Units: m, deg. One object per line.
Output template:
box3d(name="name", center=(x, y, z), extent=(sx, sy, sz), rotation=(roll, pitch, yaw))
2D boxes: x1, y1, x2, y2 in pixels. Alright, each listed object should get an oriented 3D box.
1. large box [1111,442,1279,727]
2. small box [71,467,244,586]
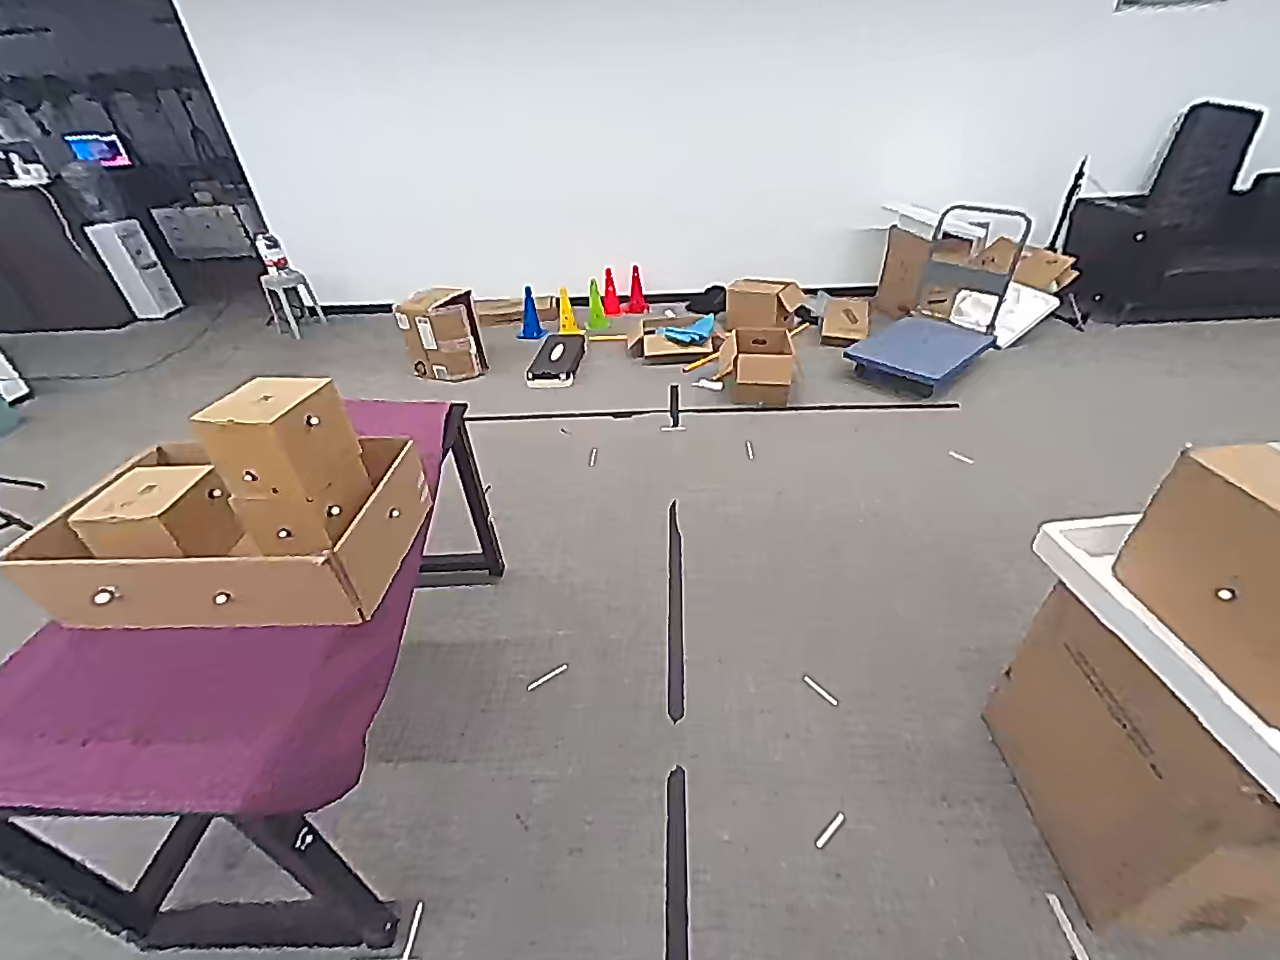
box3d(name="large box", center=(1.152, 0.172, 0.913), extent=(0.320, 0.320, 0.408), rotation=(-3, 34, -1))
box3d(name="small box", center=(-0.943, 0.092, 1.085), extent=(0.168, 0.176, 0.179), rotation=(-2, 35, -1))
